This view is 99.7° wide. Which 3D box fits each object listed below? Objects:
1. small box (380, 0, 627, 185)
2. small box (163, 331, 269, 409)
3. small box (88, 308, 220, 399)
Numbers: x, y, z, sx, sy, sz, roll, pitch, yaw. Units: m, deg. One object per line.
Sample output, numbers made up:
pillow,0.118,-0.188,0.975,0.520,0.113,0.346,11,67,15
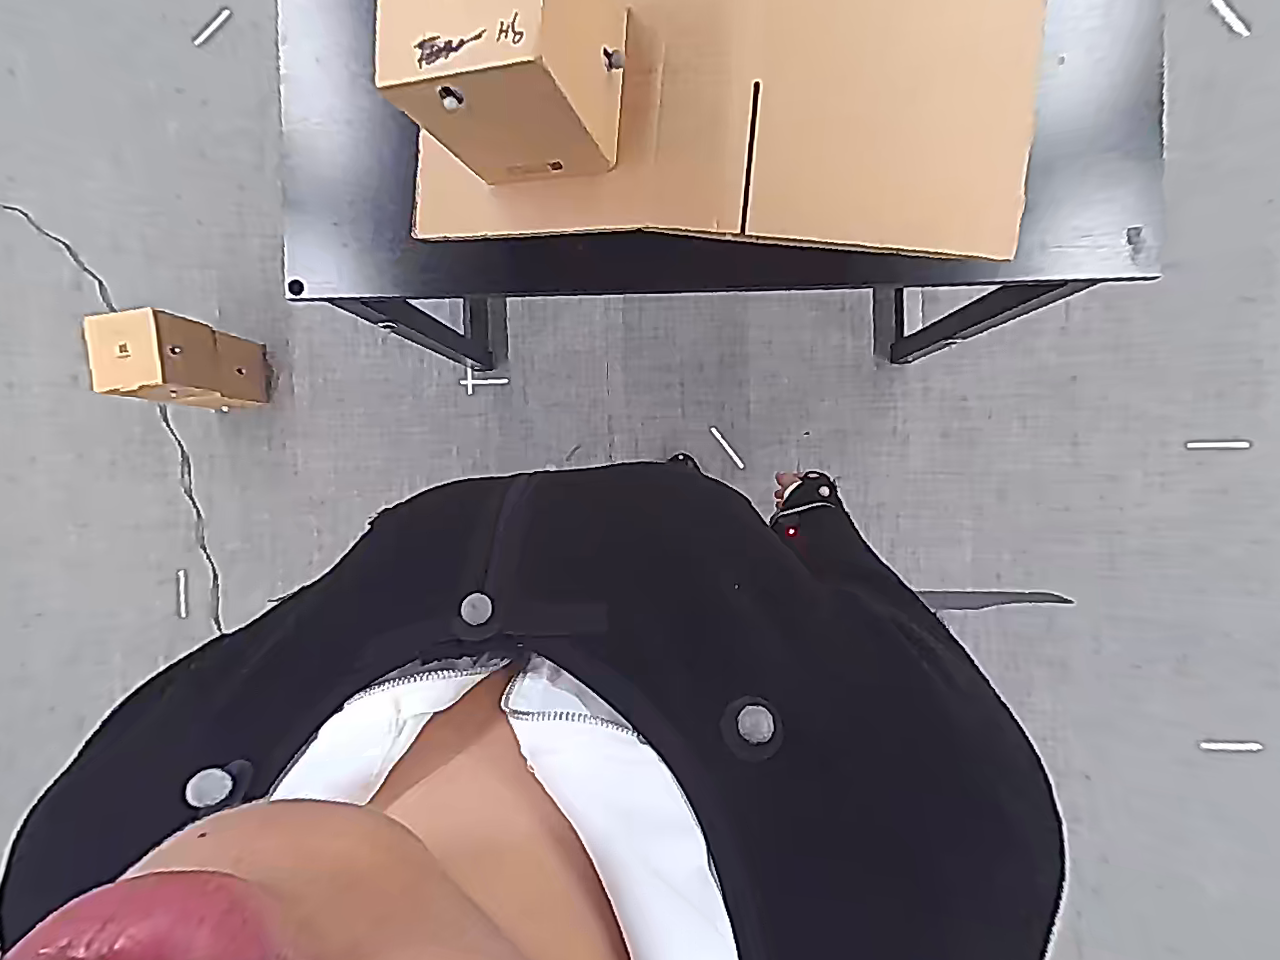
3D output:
small box,-0.118,-0.422,0.526,0.168,0.176,0.179,5,91,19
small box,-1.147,-0.293,1.465,0.168,0.176,0.179,-4,92,3
small box,-1.157,-0.295,1.303,0.168,0.176,0.179,-7,90,2
